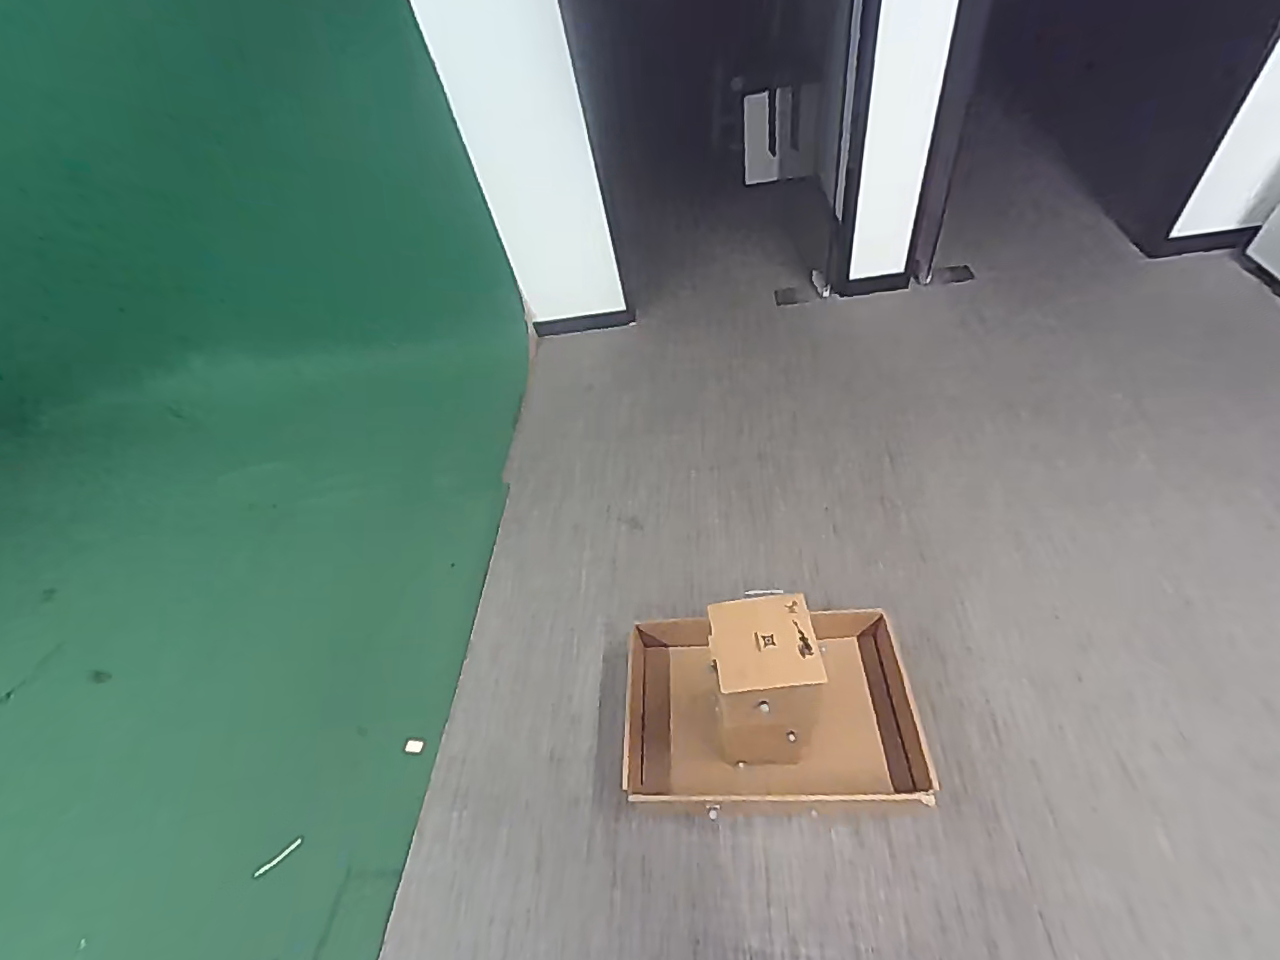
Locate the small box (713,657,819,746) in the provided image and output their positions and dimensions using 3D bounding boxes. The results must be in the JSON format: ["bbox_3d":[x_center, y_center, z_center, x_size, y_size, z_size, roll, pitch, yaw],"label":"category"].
[{"bbox_3d":[0.245,0.421,1.093,0.179,0.176,0.168,-10,48,4],"label":"small box"}]

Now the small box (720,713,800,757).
[{"bbox_3d":[0.270,0.523,1.237,0.168,0.176,0.179,-5,48,8],"label":"small box"}]

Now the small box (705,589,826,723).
[{"bbox_3d":[0.223,0.324,0.987,0.179,0.176,0.168,-10,46,3],"label":"small box"}]
